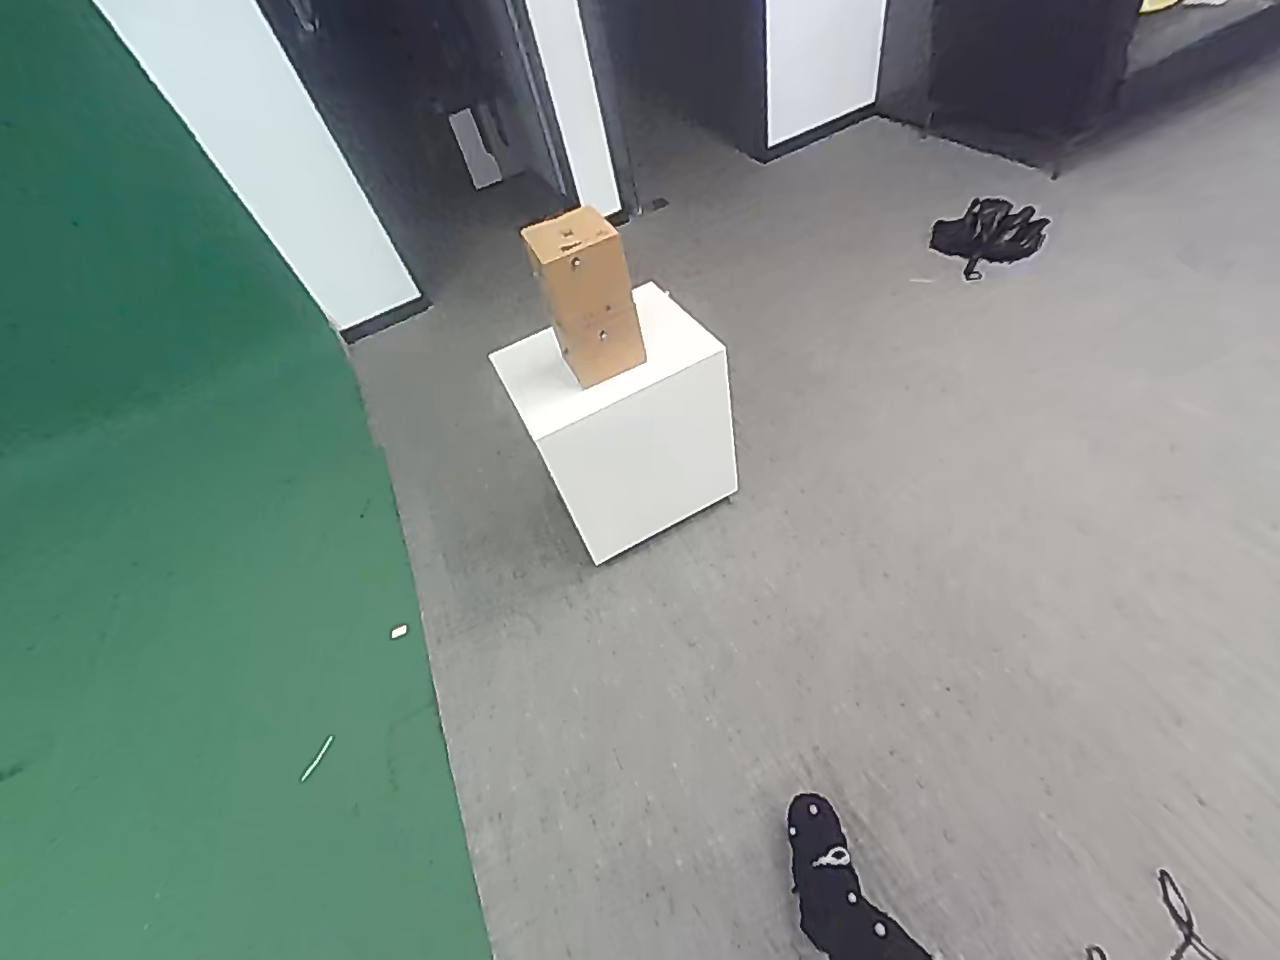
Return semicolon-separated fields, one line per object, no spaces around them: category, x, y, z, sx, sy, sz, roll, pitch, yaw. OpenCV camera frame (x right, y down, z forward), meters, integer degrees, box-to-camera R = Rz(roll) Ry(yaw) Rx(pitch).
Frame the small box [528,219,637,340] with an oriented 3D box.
small box;-0.124;-0.440;1.192;0.168;0.176;0.179;-26;50;-10

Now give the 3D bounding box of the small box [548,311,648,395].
small box;-0.097;-0.335;1.312;0.179;0.176;0.168;-25;50;-9
